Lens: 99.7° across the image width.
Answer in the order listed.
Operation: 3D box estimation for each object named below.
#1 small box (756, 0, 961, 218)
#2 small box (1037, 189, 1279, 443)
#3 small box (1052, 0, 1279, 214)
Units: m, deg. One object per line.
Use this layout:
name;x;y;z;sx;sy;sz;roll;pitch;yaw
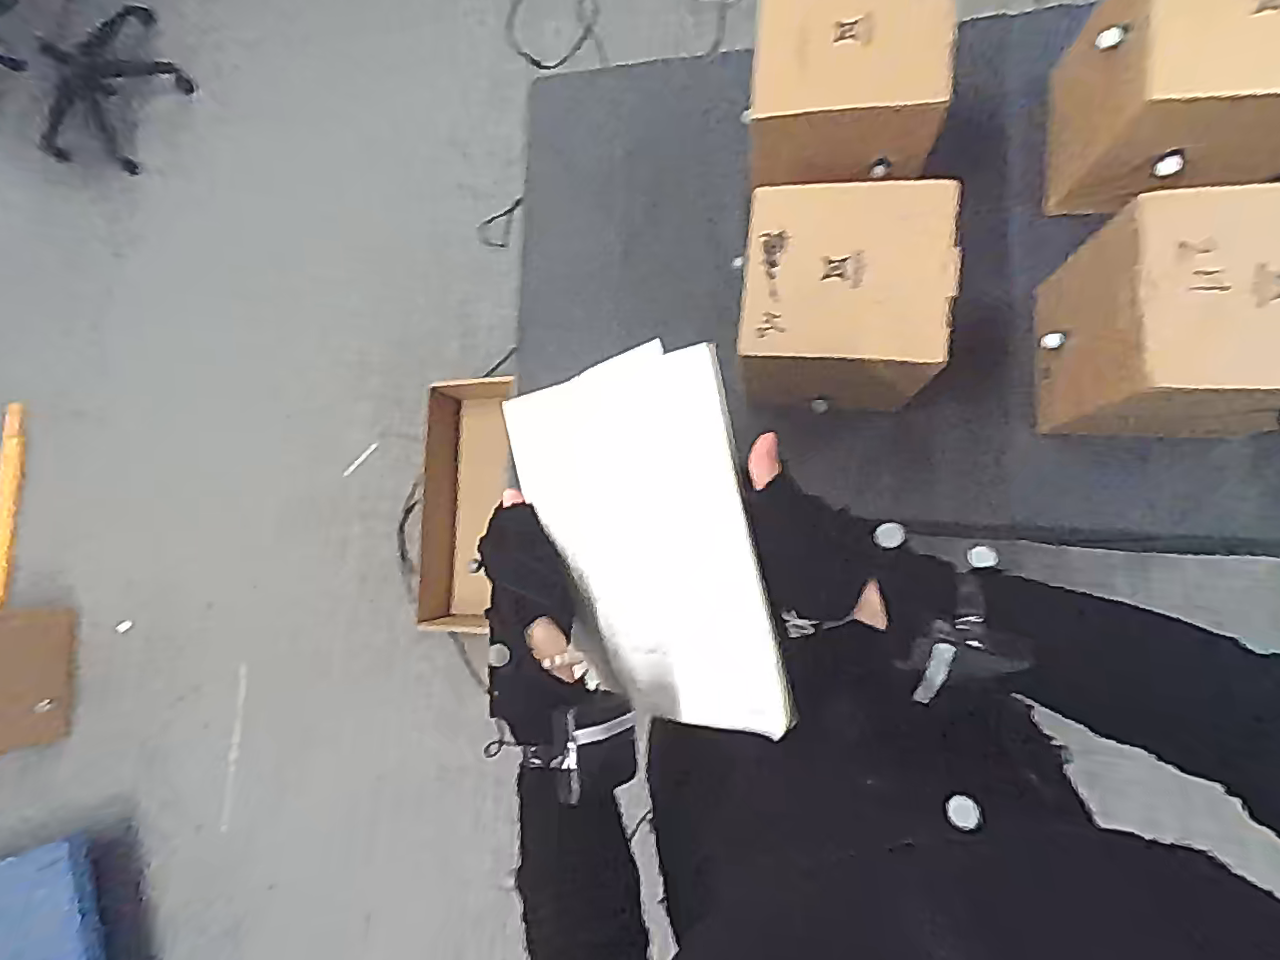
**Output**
small box;0.221;-0.407;0.586;0.179;0.176;0.168;4;84;13
small box;0.499;-0.132;0.485;0.179;0.176;0.168;3;82;12
small box;0.527;-0.374;0.515;0.168;0.176;0.179;6;84;14
